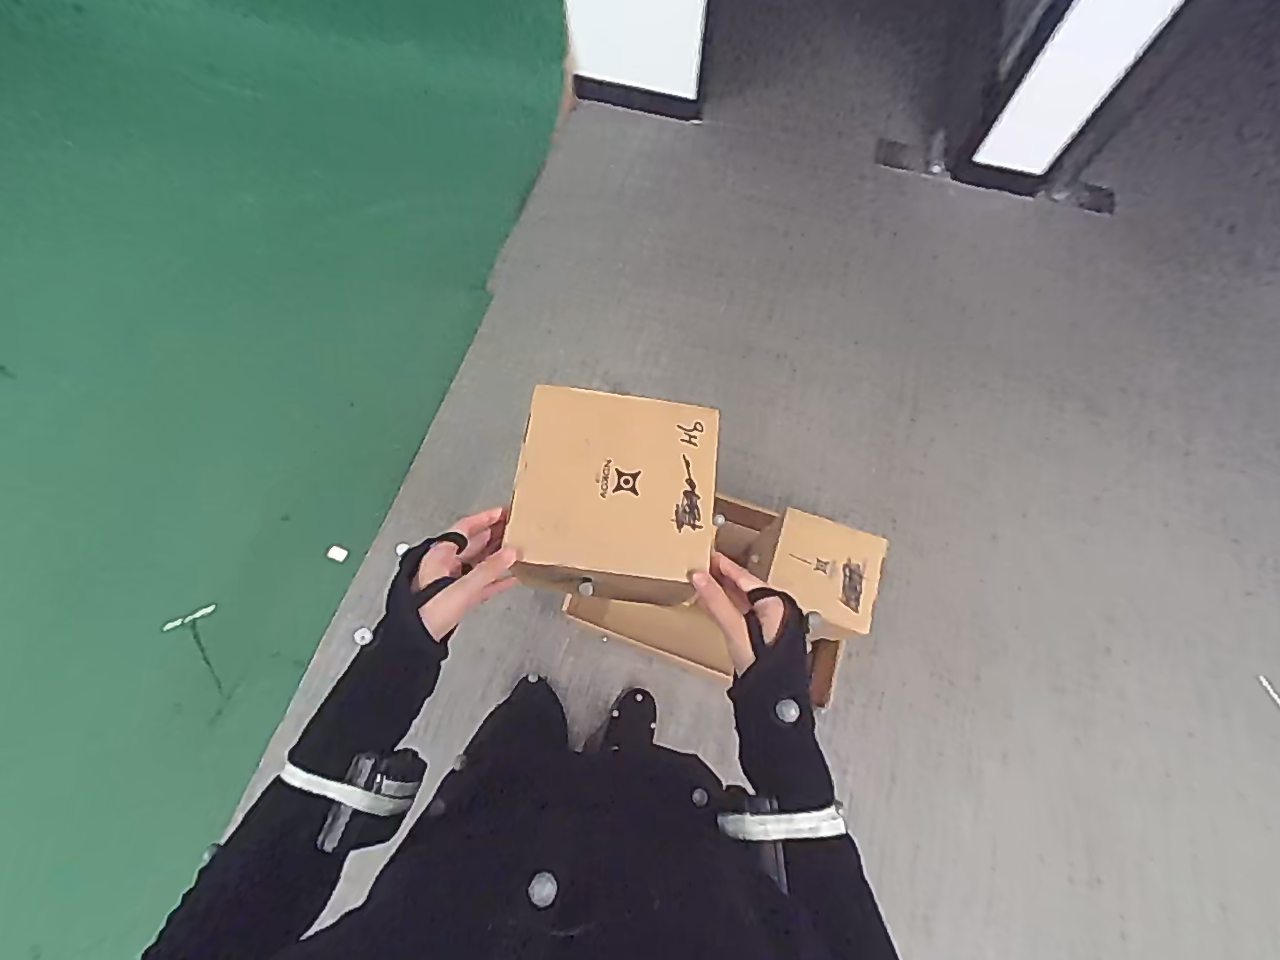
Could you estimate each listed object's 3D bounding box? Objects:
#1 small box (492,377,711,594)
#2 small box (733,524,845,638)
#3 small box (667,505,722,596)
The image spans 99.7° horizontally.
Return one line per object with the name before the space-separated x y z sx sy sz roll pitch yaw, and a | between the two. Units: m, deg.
small box | -0.034 0.017 0.552 0.179 0.176 0.168 8 70 -2
small box | 0.300 0.216 1.122 0.168 0.176 0.179 19 71 6
small box | 0.059 0.138 1.149 0.179 0.176 0.168 17 71 4
